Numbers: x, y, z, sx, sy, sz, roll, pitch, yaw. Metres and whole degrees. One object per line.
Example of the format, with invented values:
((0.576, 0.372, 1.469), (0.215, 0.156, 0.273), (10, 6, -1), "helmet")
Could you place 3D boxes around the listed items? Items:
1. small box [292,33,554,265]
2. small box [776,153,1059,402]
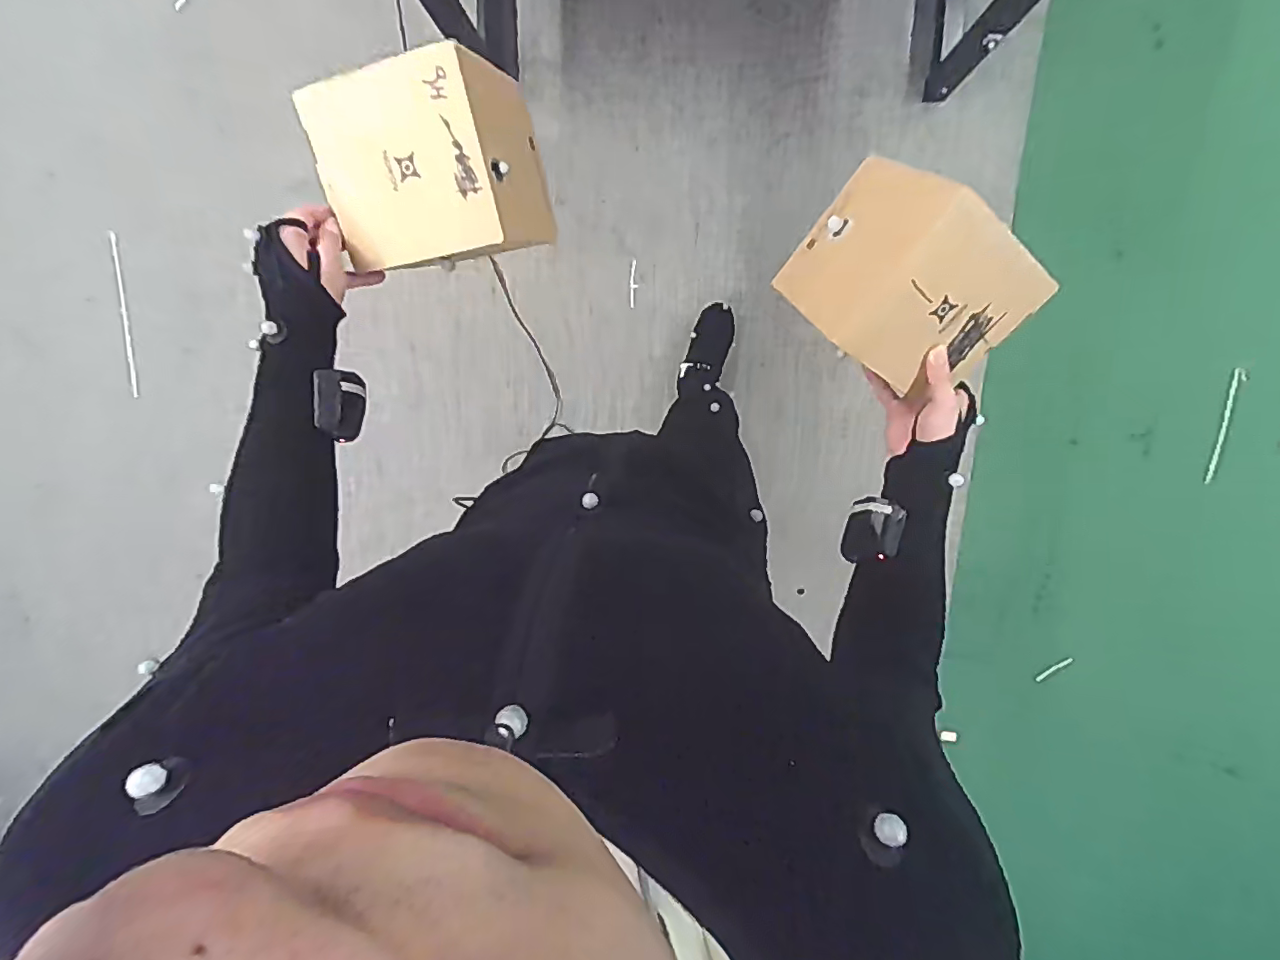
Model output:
((-0.216, -0.334, 0.585), (0.179, 0.176, 0.168), (-5, 112, 15), "small box")
((0.283, -0.221, 0.585), (0.179, 0.176, 0.168), (23, 120, -27), "small box")
